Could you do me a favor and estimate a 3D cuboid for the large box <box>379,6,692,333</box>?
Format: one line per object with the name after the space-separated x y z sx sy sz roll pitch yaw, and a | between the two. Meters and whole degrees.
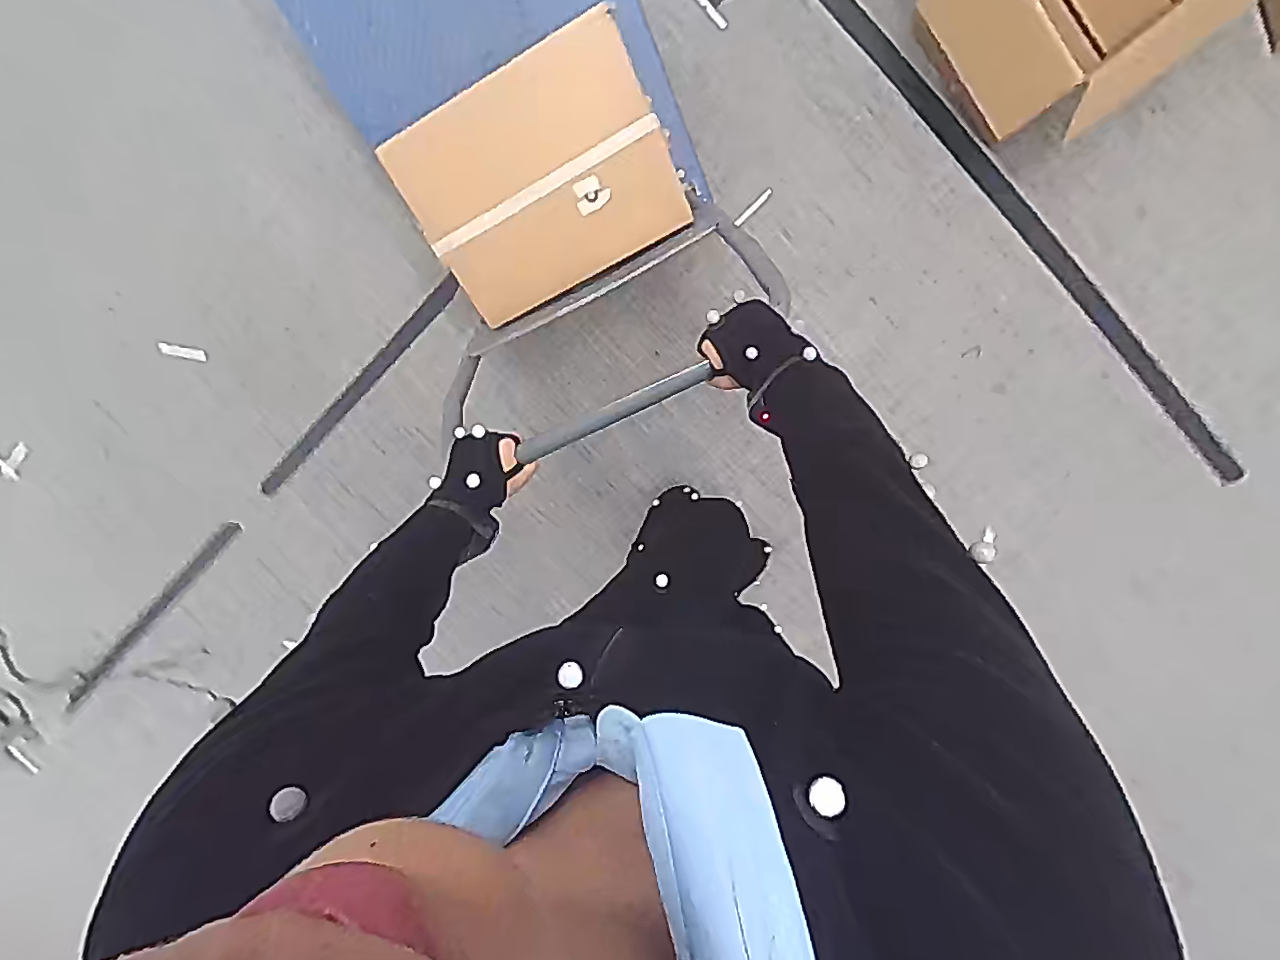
-0.167 -0.530 0.978 0.408 0.320 0.320 -25 121 10 | large box
